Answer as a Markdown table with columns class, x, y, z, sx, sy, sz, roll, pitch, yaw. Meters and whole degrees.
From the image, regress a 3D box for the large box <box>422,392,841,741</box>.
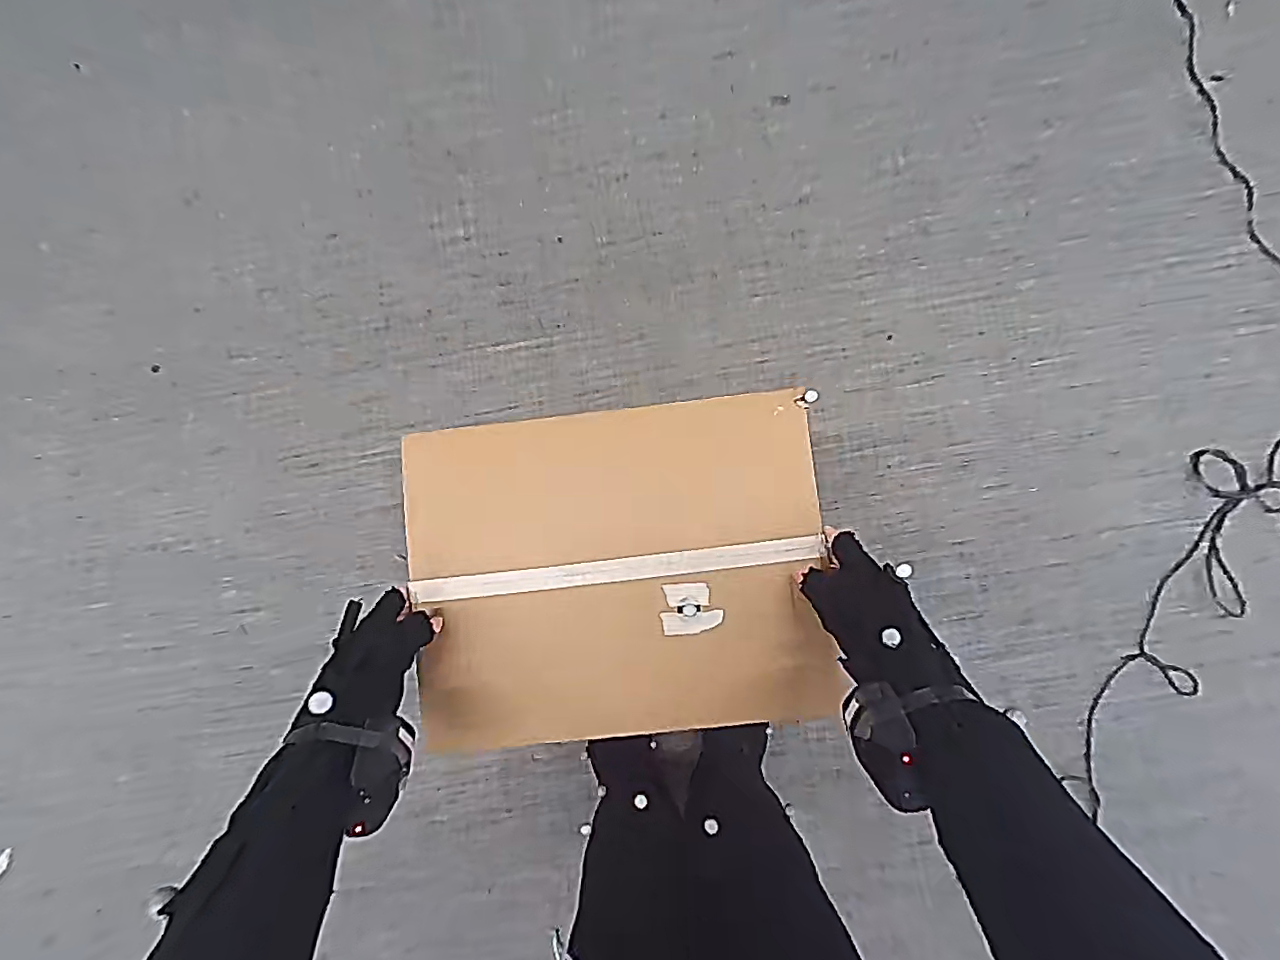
| class | x | y | z | sx | sy | sz | roll | pitch | yaw |
| --- | --- | --- | --- | --- | --- | --- | --- | --- | --- |
| large box | -0.013 | 0.100 | 0.696 | 0.408 | 0.320 | 0.320 | -7 | 85 | 1 |
